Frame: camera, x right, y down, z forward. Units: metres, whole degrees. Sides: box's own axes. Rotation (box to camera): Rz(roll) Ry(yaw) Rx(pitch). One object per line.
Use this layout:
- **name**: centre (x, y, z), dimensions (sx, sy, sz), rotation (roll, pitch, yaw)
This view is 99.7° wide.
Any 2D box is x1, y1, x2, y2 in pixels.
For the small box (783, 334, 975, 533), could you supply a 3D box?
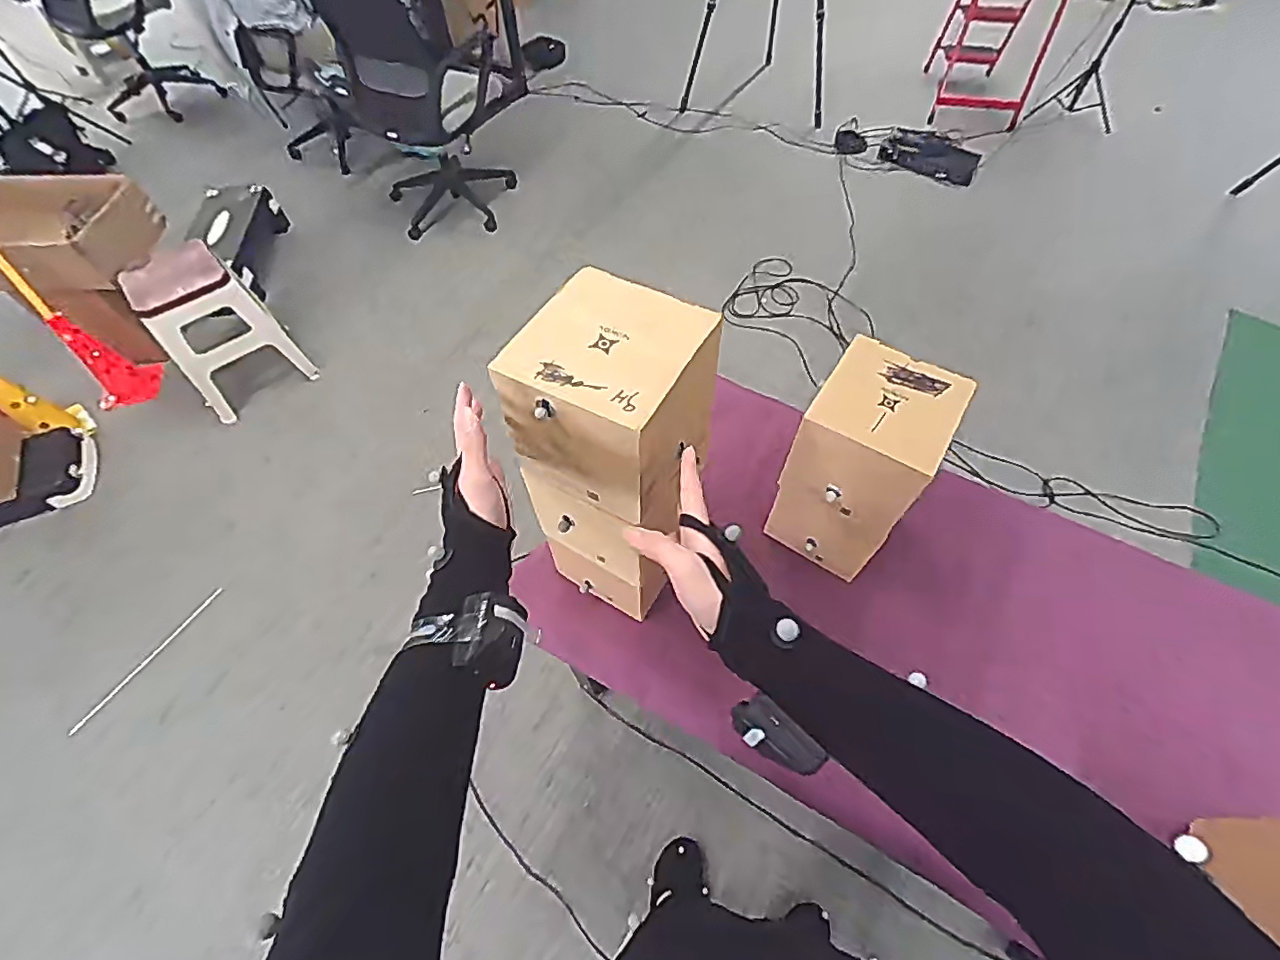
- **small box**: centre (0.317, -0.061, 0.748), dimensions (0.168, 0.176, 0.179), rotation (30, 64, 18)

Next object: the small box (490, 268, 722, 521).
- **small box**: centre (-0.030, -0.090, 0.585), dimensions (0.168, 0.176, 0.179), rotation (24, 59, 17)

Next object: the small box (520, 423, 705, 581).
- **small box**: centre (-0.028, 0.004, 0.720), dimensions (0.168, 0.176, 0.179), rotation (27, 61, 18)

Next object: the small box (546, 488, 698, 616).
- **small box**: centre (-0.025, 0.084, 0.861), dimensions (0.168, 0.176, 0.179), rotation (27, 62, 17)

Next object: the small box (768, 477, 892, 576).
- **small box**: centre (0.329, 0.024, 0.889), dimensions (0.168, 0.176, 0.179), rotation (31, 65, 19)
